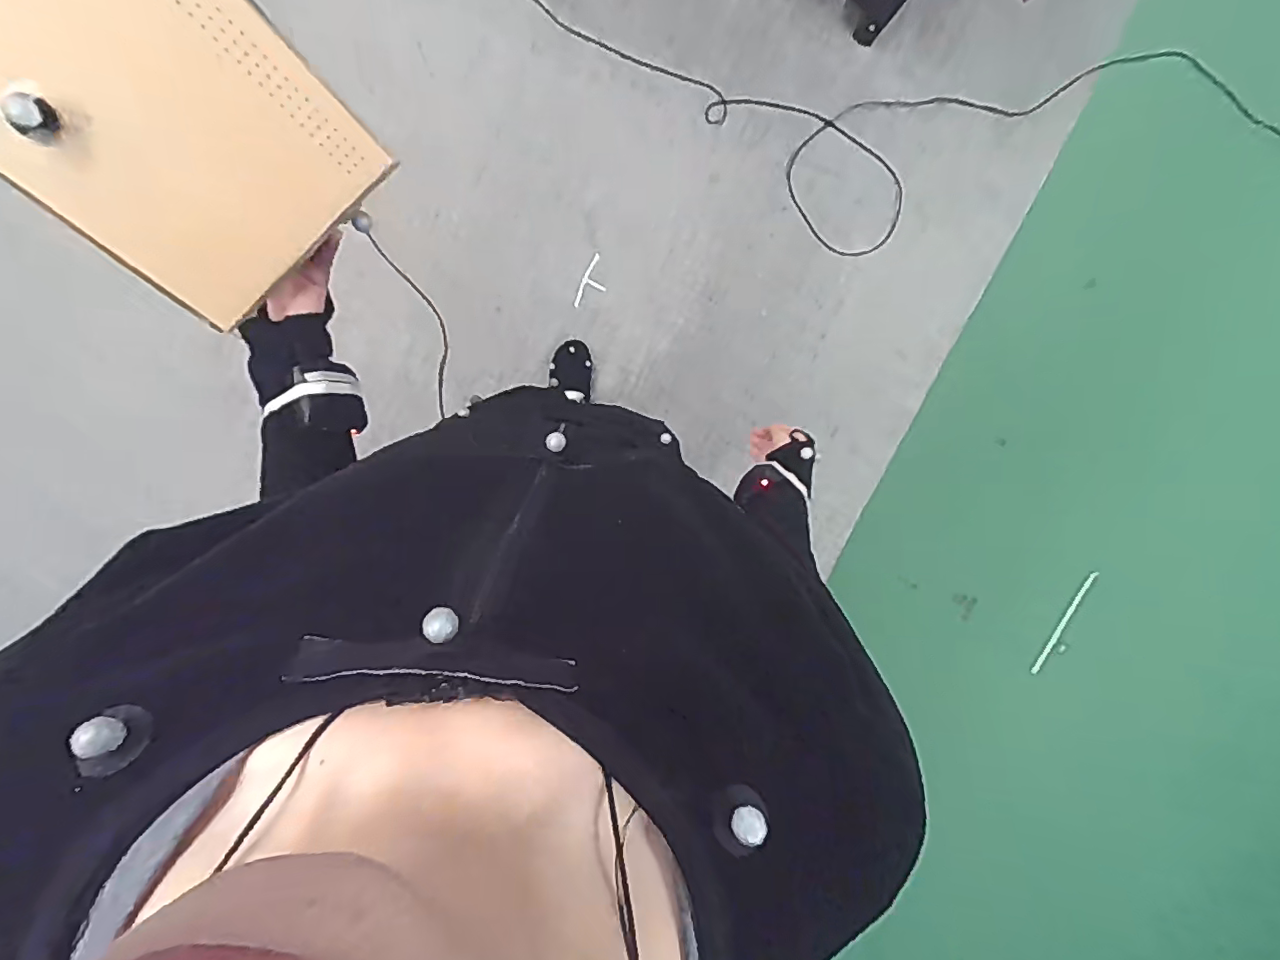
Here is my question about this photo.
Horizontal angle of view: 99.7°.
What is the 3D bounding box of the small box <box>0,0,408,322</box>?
[{"bbox_3d":[-0.292,-0.249,0.378,0.176,0.168,0.179,-41,126,6],"label":"small box"}]
